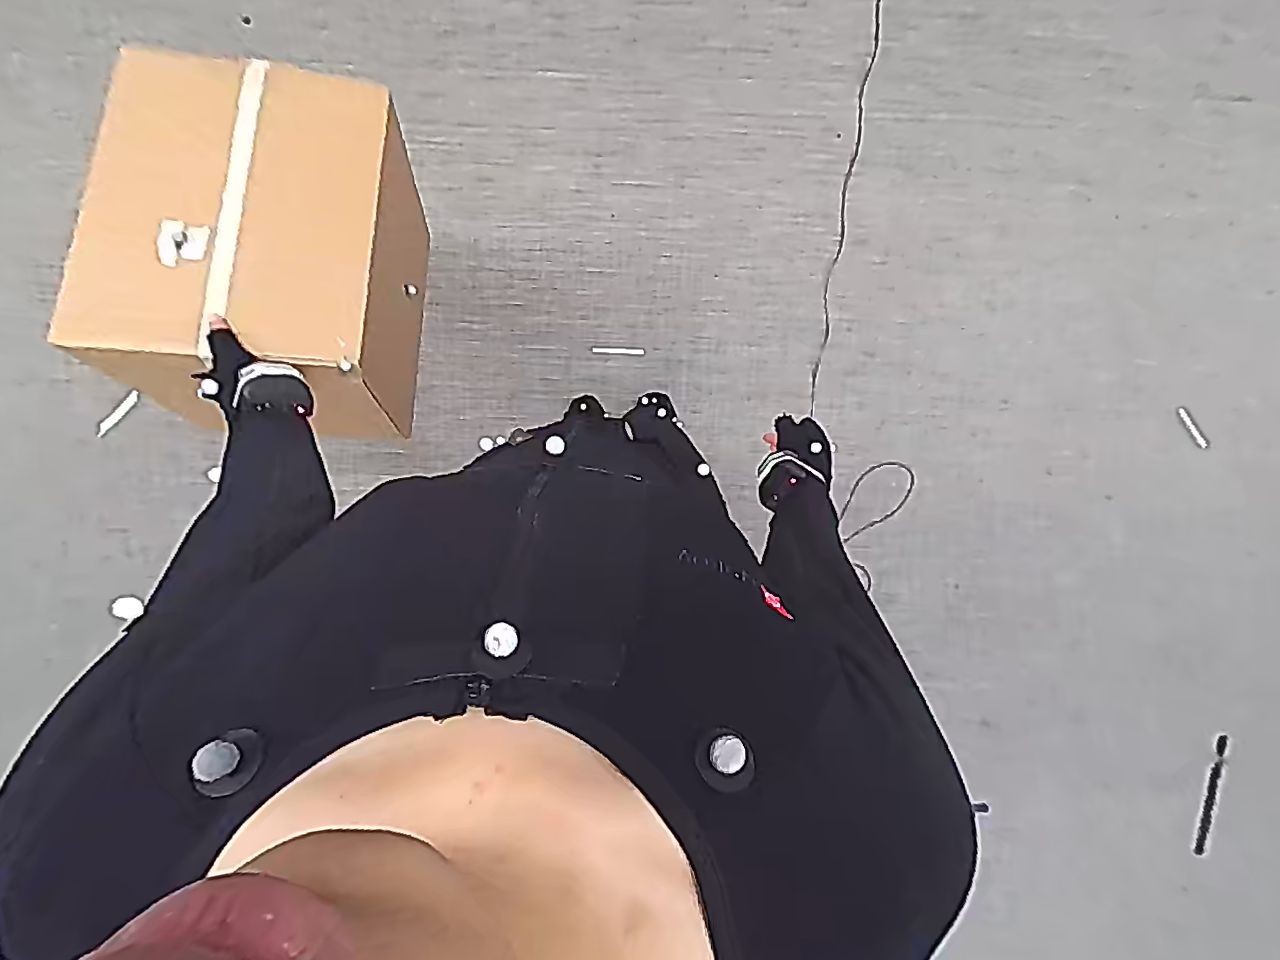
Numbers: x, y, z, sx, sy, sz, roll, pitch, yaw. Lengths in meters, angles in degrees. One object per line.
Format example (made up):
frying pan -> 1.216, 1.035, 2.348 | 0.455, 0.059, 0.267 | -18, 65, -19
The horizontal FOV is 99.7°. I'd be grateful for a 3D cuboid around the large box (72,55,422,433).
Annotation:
large box -> -0.521, -0.309, 0.812 | 0.320, 0.320, 0.408 | 1, 79, -11
